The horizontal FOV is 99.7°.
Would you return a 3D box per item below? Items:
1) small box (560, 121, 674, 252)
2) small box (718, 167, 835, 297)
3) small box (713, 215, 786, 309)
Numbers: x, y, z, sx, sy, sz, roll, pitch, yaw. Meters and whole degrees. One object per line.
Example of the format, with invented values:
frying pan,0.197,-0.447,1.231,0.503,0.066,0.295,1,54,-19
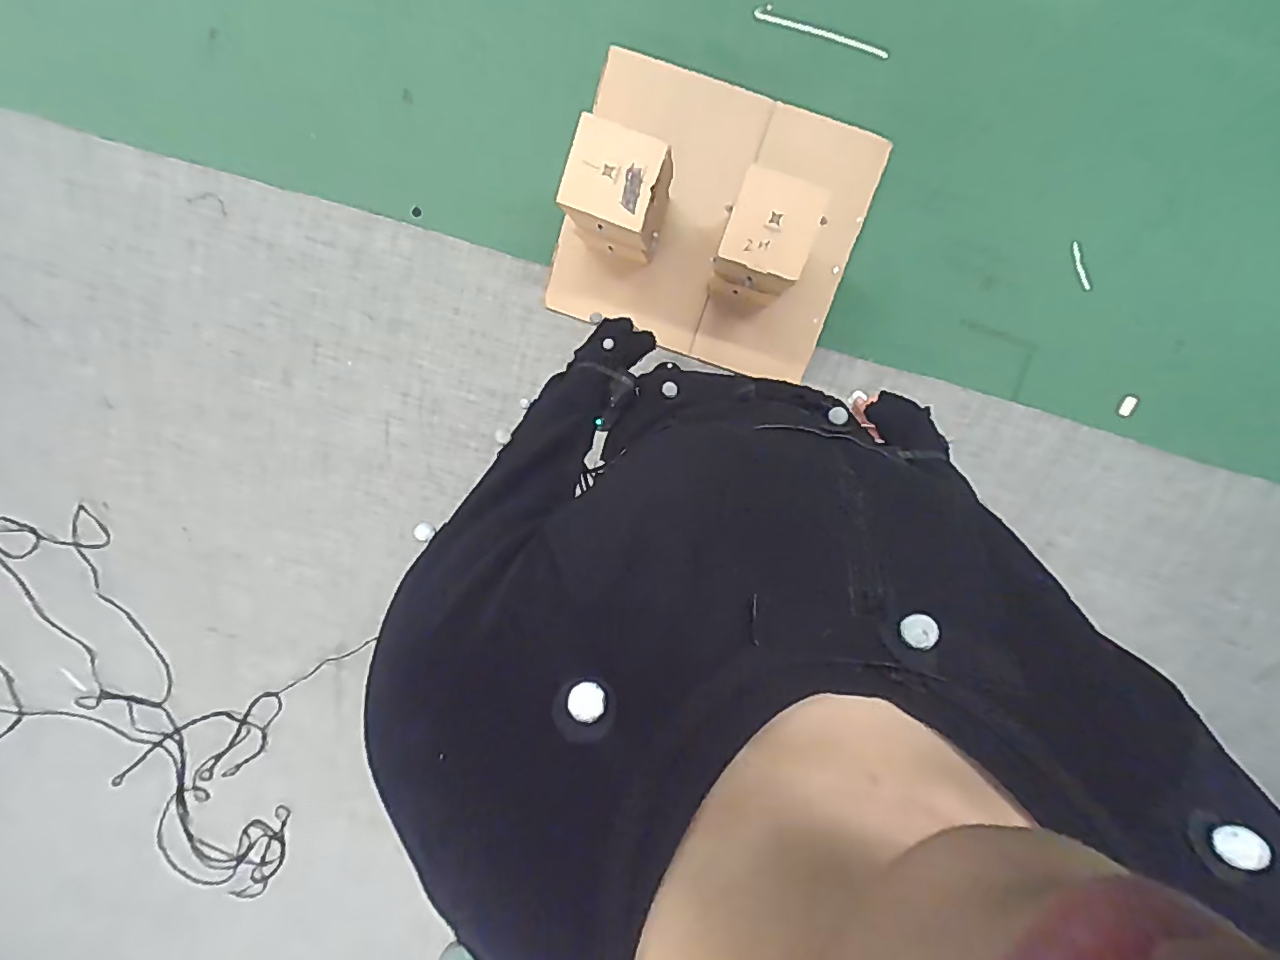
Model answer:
small box,-0.038,-0.578,1.092,0.179,0.176,0.168,22,103,2
small box,0.262,-0.487,1.090,0.168,0.176,0.179,19,103,1
small box,0.271,-0.512,1.254,0.168,0.176,0.179,17,104,1
